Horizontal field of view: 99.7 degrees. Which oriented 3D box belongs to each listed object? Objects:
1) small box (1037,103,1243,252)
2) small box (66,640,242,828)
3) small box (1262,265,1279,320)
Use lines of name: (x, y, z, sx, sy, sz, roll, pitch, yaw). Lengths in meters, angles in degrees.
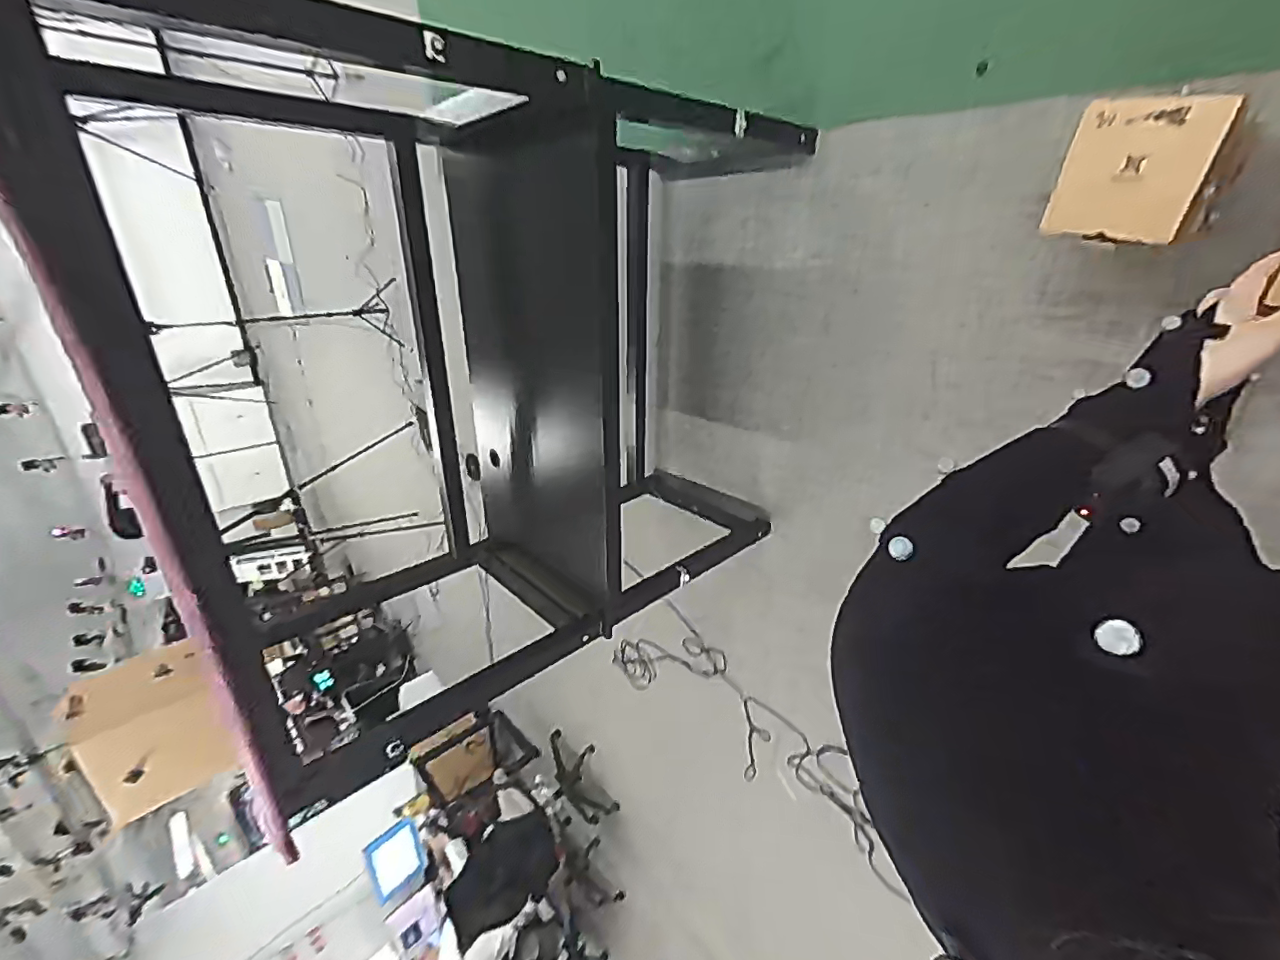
small box: (0.745, -0.447, 0.808, 0.168, 0.176, 0.179, 32, 128, 39)
small box: (-0.774, 0.396, 0.872, 0.168, 0.176, 0.179, 22, 121, 41)
small box: (0.618, -0.186, 0.389, 0.179, 0.176, 0.168, 30, 117, 46)
